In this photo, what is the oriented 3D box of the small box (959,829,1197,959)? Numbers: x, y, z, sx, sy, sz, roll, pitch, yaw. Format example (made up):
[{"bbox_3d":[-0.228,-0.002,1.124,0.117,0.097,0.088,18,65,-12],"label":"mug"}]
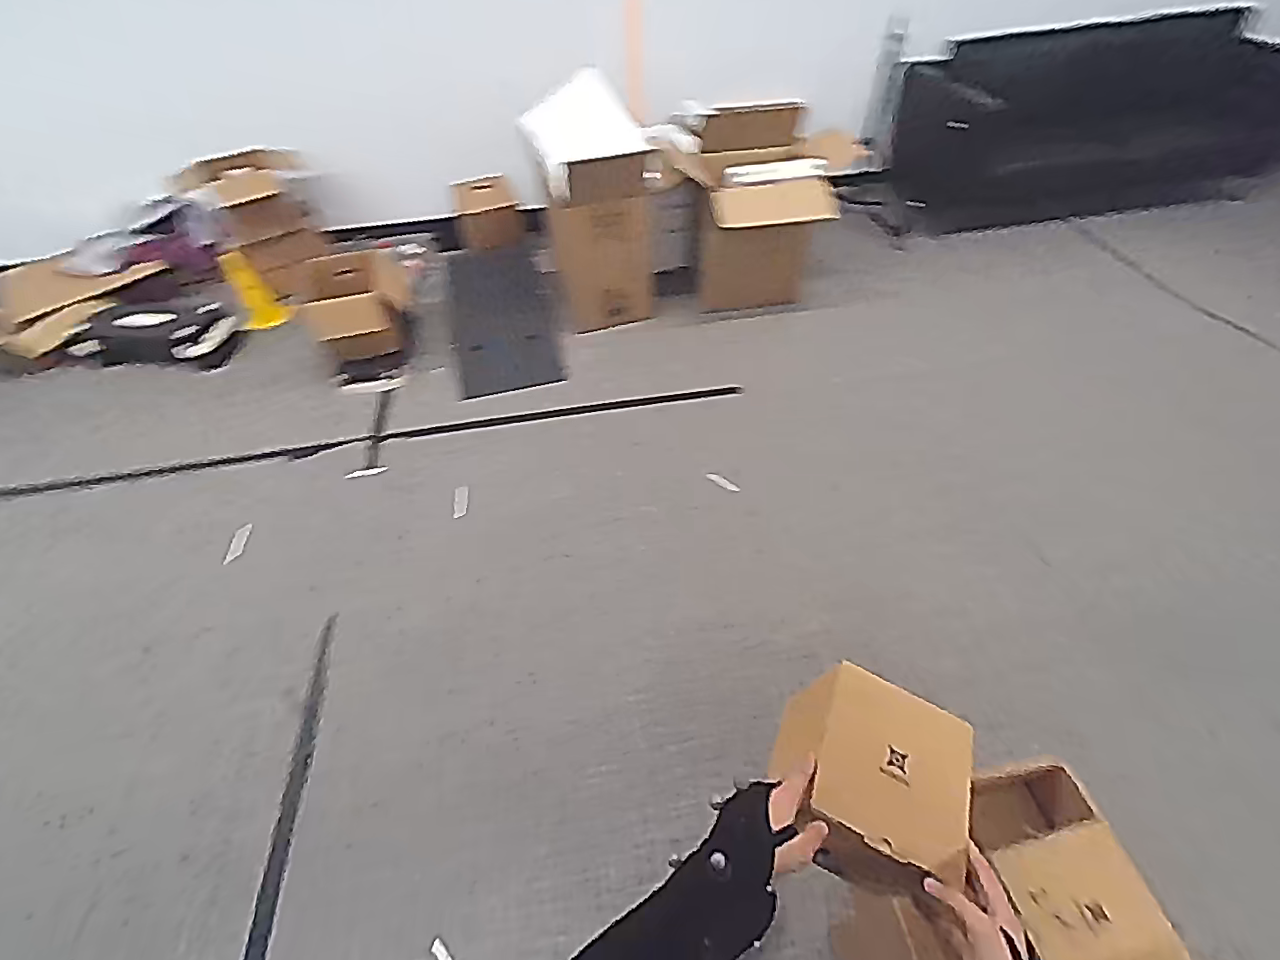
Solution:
[{"bbox_3d":[0.569,0.595,0.731,0.179,0.176,0.168,-11,51,-8],"label":"small box"}]

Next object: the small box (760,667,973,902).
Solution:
[{"bbox_3d":[0.262,0.362,0.644,0.168,0.176,0.179,25,51,7],"label":"small box"}]
